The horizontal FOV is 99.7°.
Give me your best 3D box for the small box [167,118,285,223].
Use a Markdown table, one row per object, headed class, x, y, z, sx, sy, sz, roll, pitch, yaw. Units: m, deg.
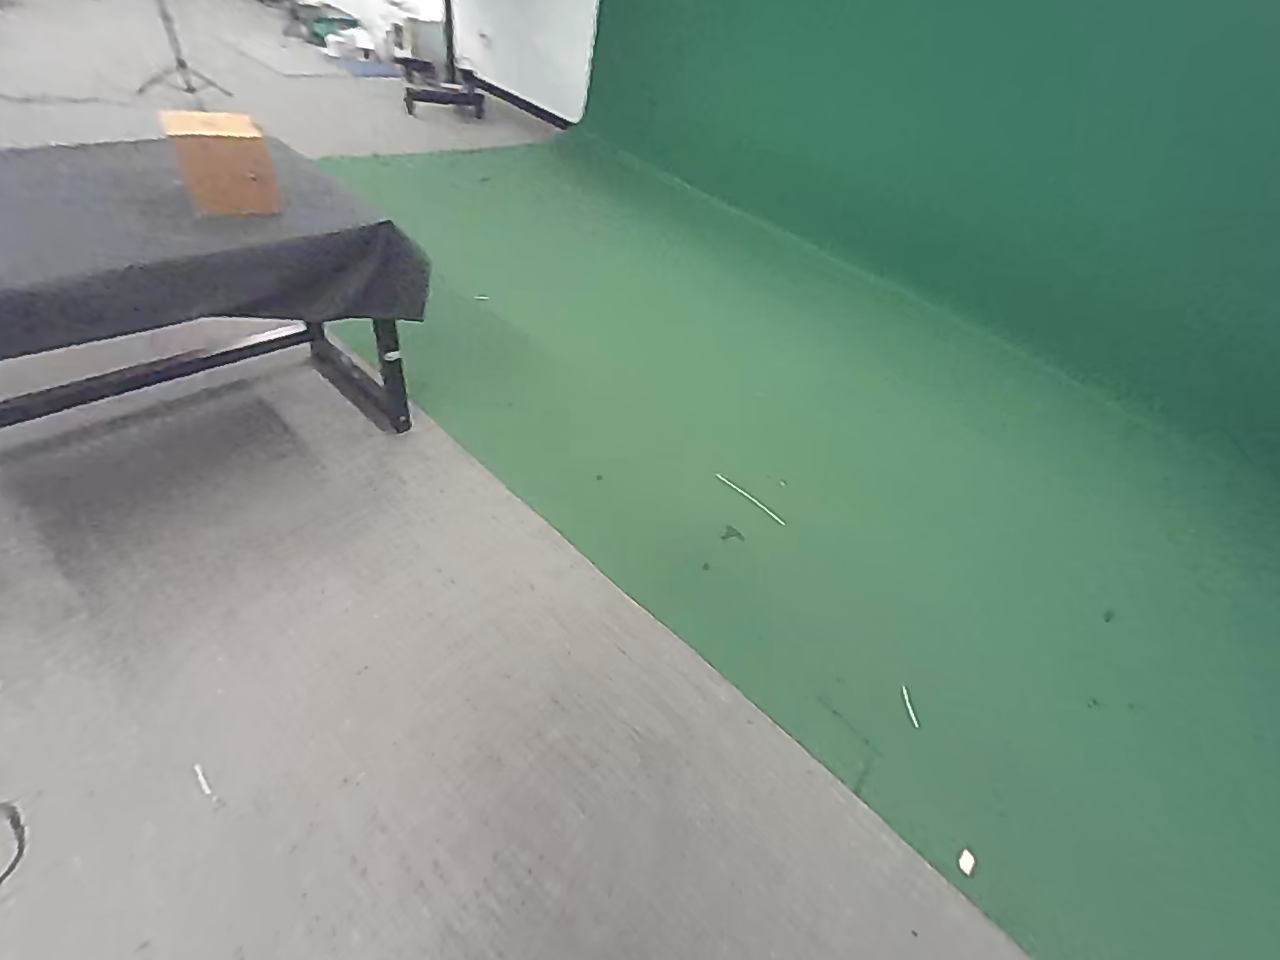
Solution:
| class | x | y | z | sx | sy | sz | roll | pitch | yaw |
| --- | --- | --- | --- | --- | --- | --- | --- | --- | --- |
| small box | -0.953 | -0.719 | 1.260 | 0.179 | 0.176 | 0.168 | -21 | 54 | -30 |
